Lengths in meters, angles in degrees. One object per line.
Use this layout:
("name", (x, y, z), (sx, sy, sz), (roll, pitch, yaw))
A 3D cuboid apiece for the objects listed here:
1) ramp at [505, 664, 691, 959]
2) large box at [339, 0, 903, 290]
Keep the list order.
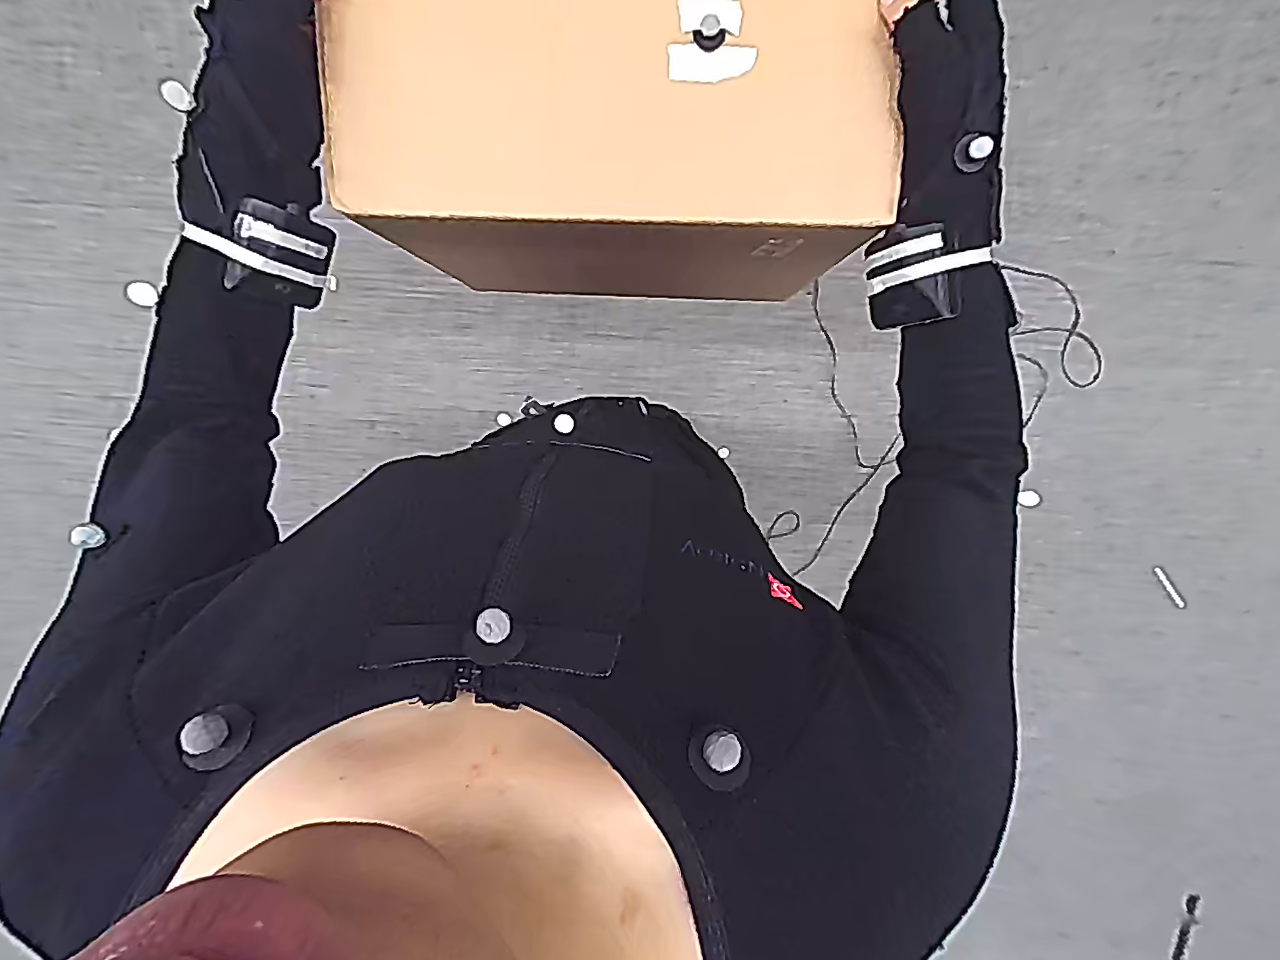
("ramp", (-0.123, 1.042, 1.544), (0.509, 0.206, 0.991), (2, 98, 3))
("large box", (-0.013, -0.374, 0.524), (0.408, 0.320, 0.320), (2, 99, 1))
